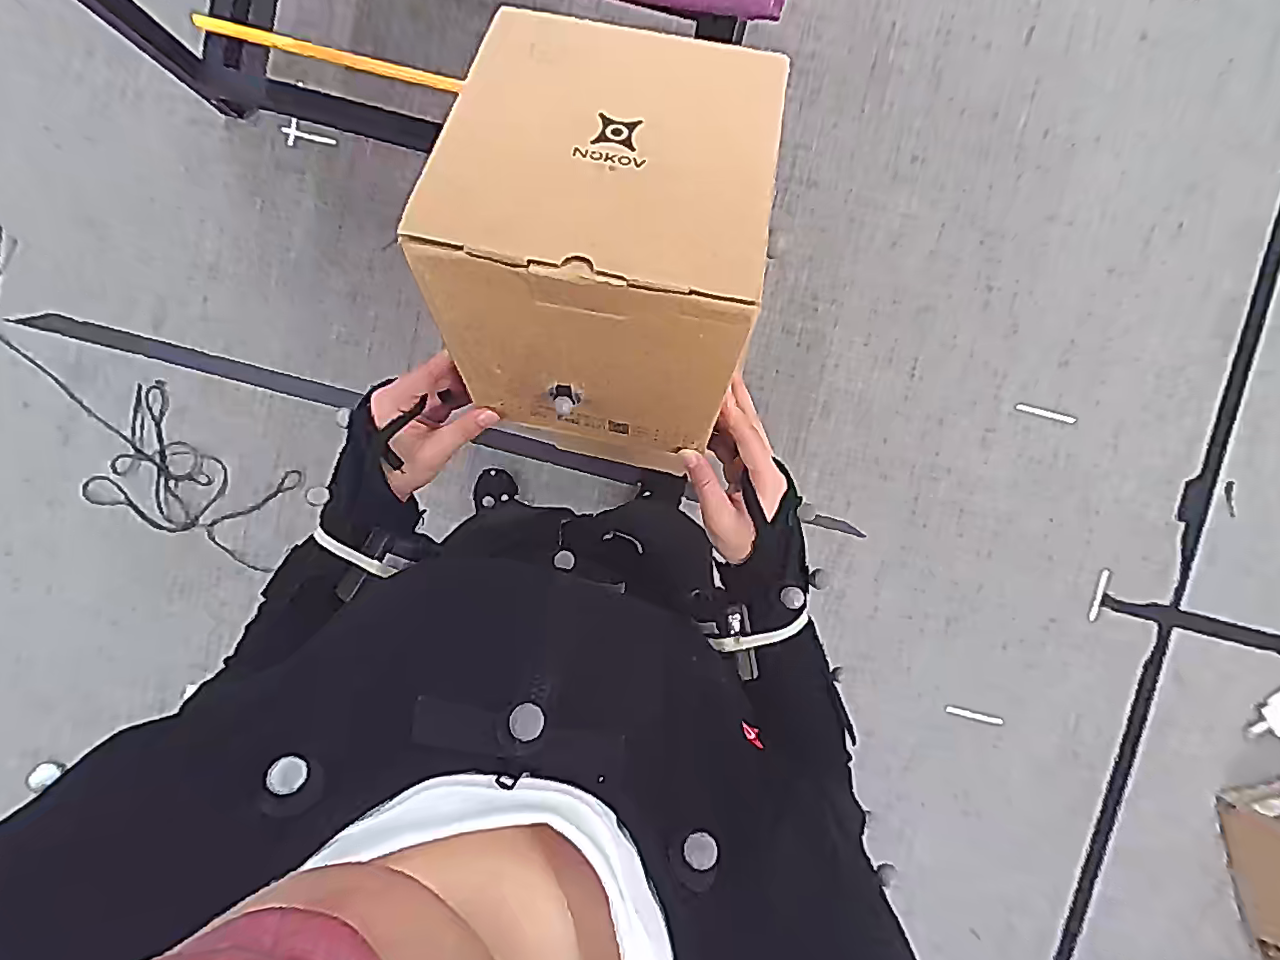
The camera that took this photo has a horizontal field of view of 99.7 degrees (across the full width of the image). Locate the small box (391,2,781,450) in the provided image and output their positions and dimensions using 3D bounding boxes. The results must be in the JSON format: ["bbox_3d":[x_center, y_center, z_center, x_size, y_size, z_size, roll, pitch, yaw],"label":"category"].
[{"bbox_3d":[-0.021,-0.142,0.342,0.168,0.176,0.179,10,69,2],"label":"small box"}]
